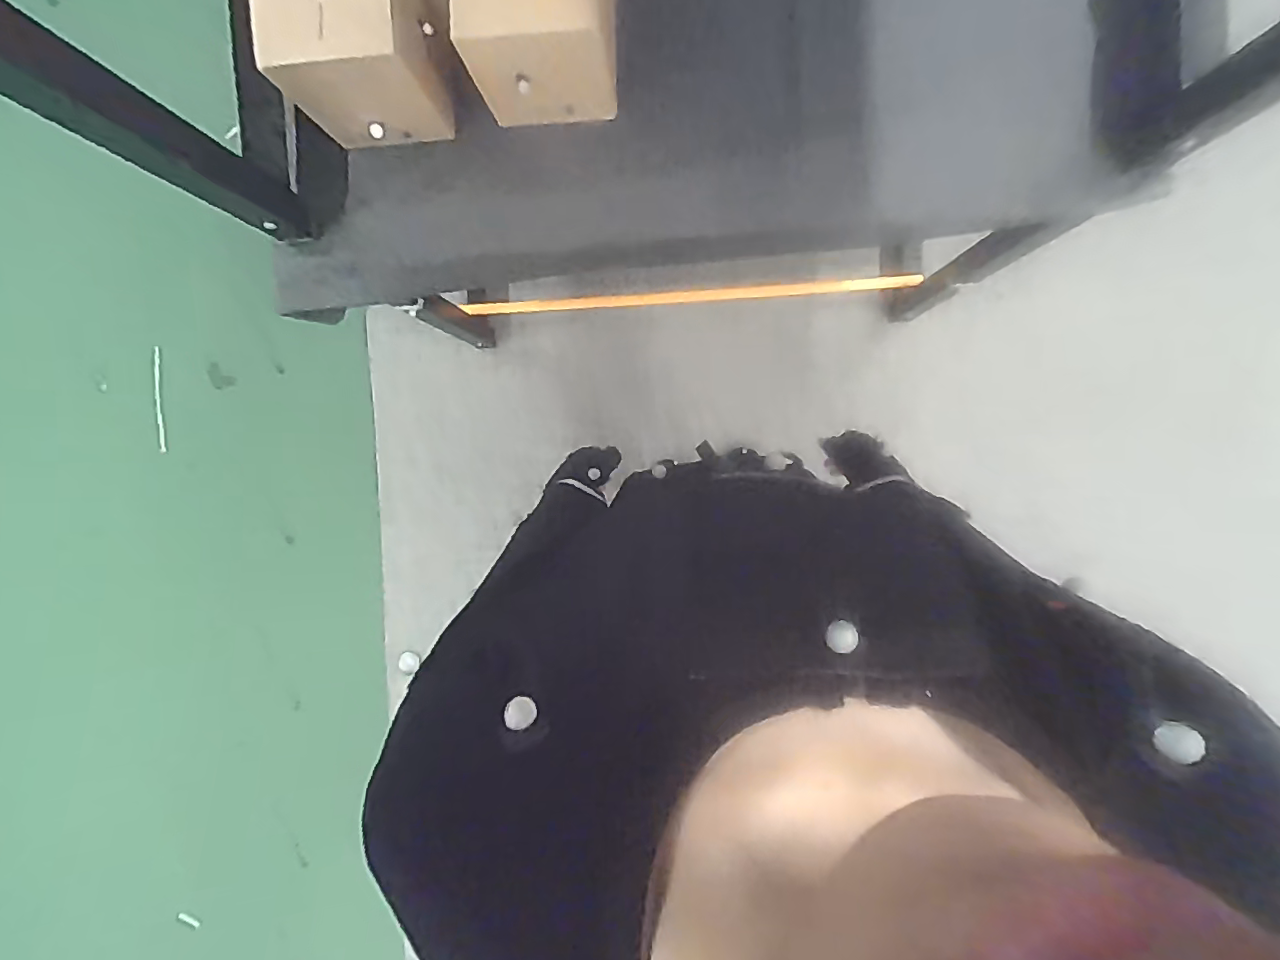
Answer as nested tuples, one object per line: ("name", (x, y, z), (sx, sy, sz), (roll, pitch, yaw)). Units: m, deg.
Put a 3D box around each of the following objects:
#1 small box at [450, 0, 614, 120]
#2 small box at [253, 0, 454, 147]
("small box", (-0.123, -0.578, 0.669), (0.168, 0.176, 0.179), (-1, 92, 4))
("small box", (-0.349, -0.561, 0.684), (0.168, 0.176, 0.179), (-2, 93, 4))
